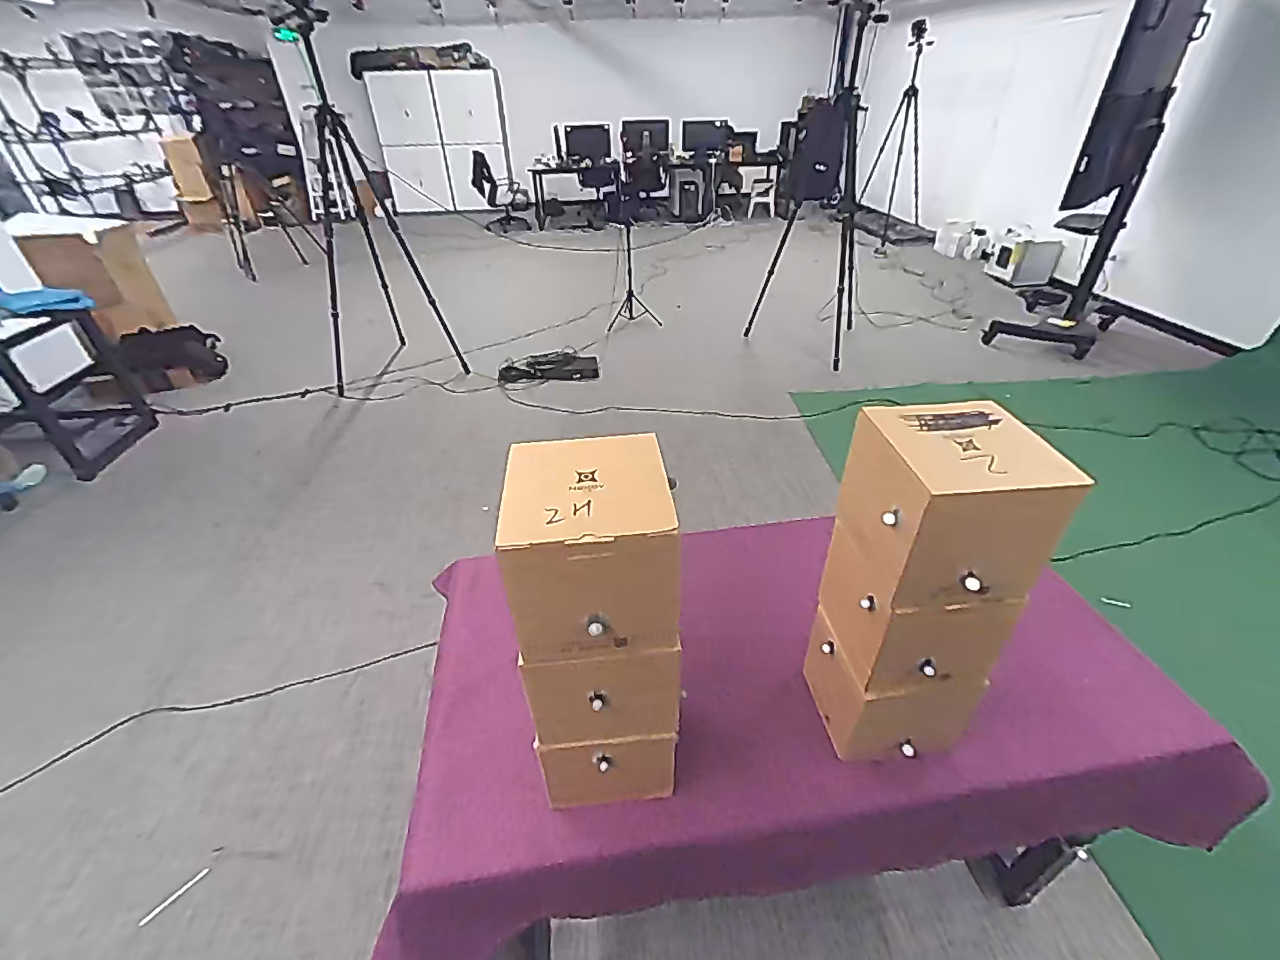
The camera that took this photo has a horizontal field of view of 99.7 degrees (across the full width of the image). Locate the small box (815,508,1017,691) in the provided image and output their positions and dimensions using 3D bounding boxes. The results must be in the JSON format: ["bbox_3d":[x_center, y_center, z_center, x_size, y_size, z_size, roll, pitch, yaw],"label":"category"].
[{"bbox_3d":[0.356,0.160,0.741,0.168,0.176,0.179,-4,37,-4],"label":"small box"}]

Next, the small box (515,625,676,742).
[{"bbox_3d":[-0.051,0.208,0.688,0.179,0.176,0.168,-6,36,-3],"label":"small box"}]

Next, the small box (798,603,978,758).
[{"bbox_3d":[0.362,0.299,0.827,0.179,0.176,0.168,-4,35,-5],"label":"small box"}]

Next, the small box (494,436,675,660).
[{"bbox_3d":[-0.056,0.070,0.597,0.168,0.176,0.179,-5,37,-4],"label":"small box"}]

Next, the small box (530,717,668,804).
[{"bbox_3d":[-0.054,0.343,0.781,0.179,0.176,0.168,-3,36,-4],"label":"small box"}]
